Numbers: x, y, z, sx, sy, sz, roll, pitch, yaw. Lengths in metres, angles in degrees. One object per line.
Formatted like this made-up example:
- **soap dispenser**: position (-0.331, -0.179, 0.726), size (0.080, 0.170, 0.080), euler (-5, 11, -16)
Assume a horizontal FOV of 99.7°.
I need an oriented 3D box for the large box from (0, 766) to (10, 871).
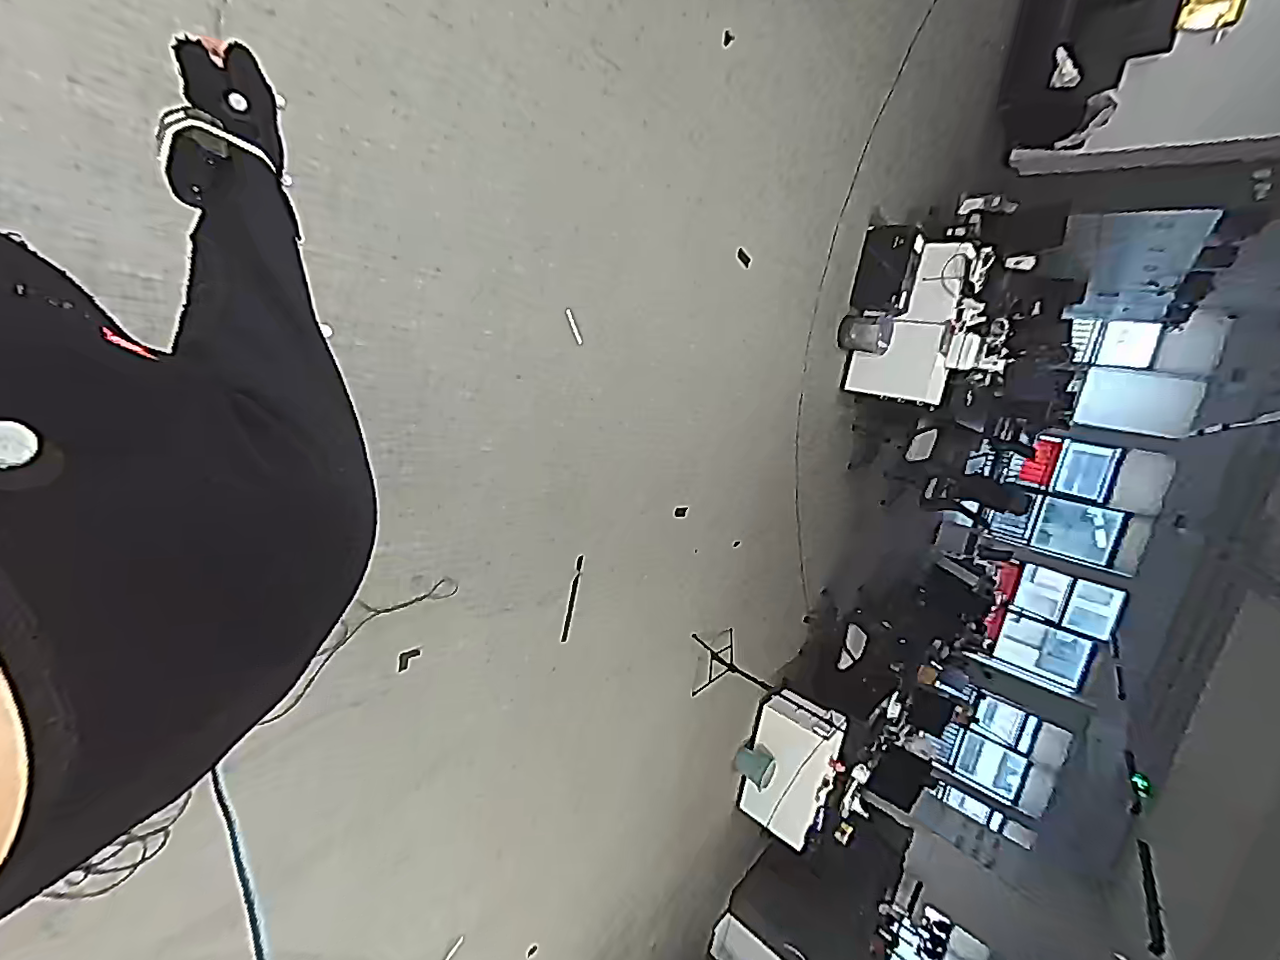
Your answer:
- **large box**: position (-1.325, 0.527, 0.839), size (0.408, 0.320, 0.320), euler (-14, 116, -48)
